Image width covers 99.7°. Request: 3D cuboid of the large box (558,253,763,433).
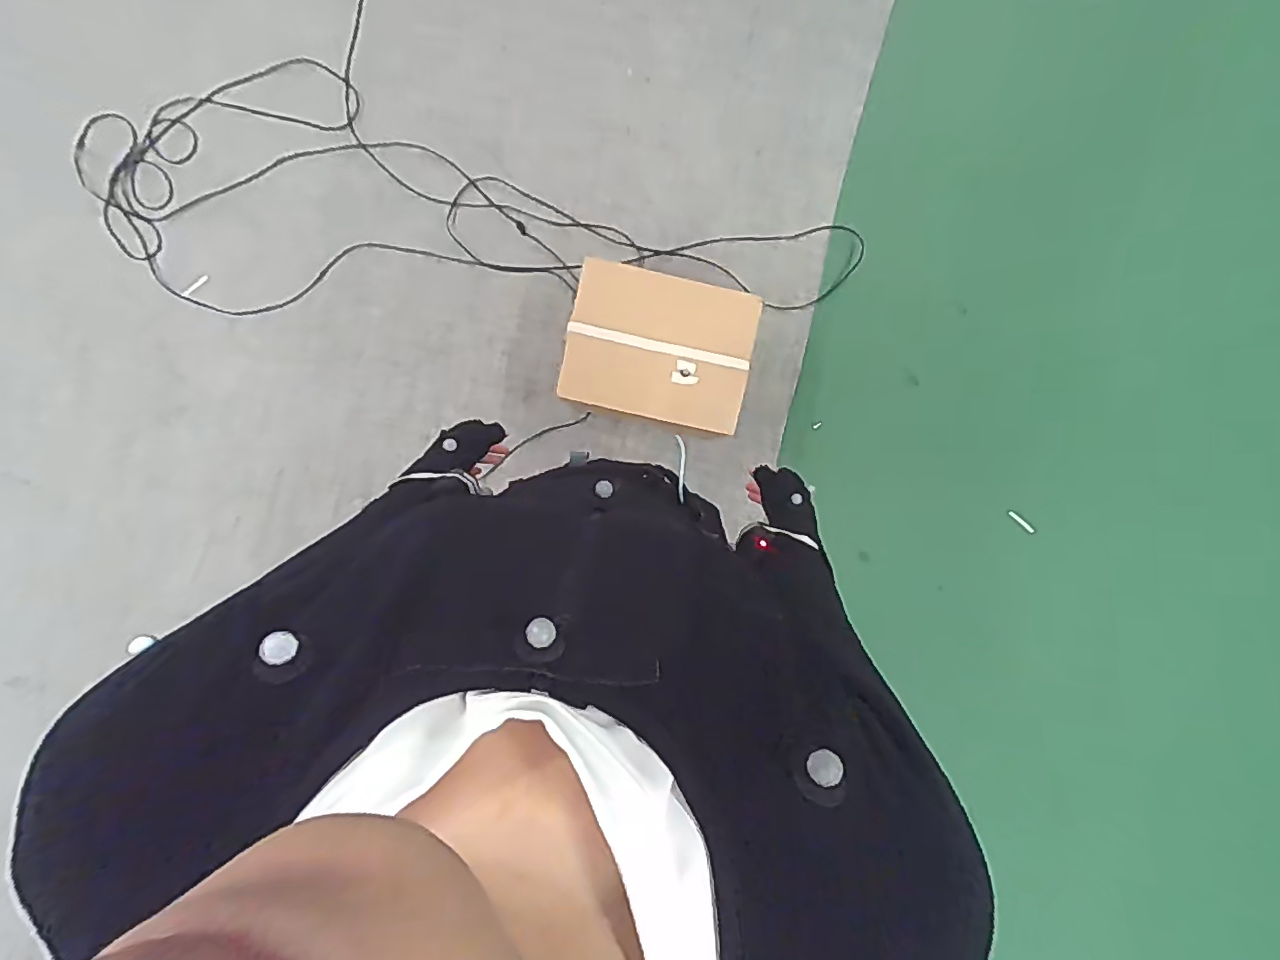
[{"bbox_3d":[0.038,-0.310,1.325,0.408,0.320,0.320,13,93,-2],"label":"large box"}]
